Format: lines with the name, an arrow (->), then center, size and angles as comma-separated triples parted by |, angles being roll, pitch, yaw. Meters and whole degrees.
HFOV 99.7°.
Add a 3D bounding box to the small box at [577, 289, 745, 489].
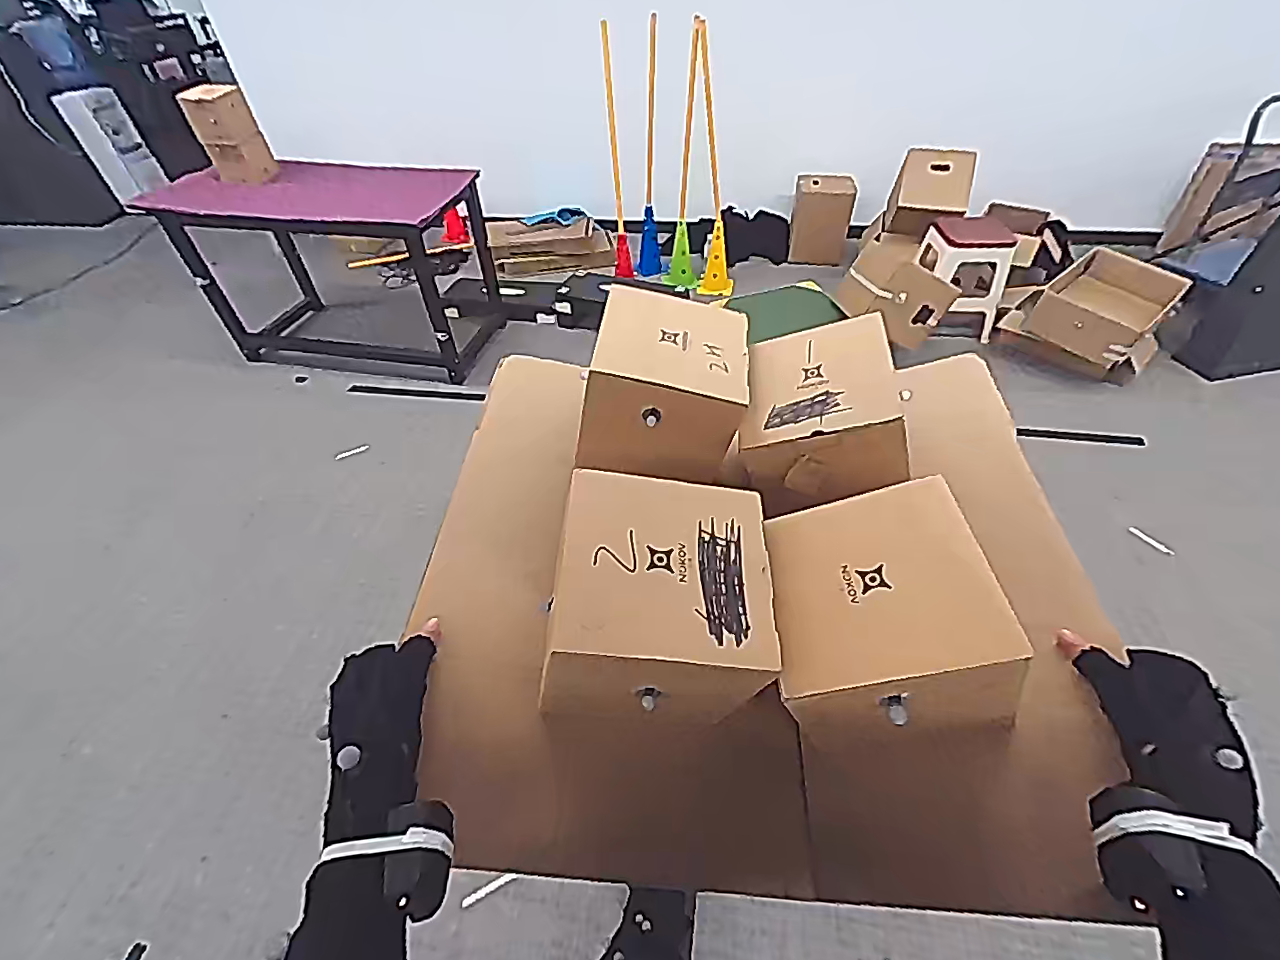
small box -> 0.023, -0.109, 0.686 | 0.179, 0.176, 0.168 | 13, 52, -4
